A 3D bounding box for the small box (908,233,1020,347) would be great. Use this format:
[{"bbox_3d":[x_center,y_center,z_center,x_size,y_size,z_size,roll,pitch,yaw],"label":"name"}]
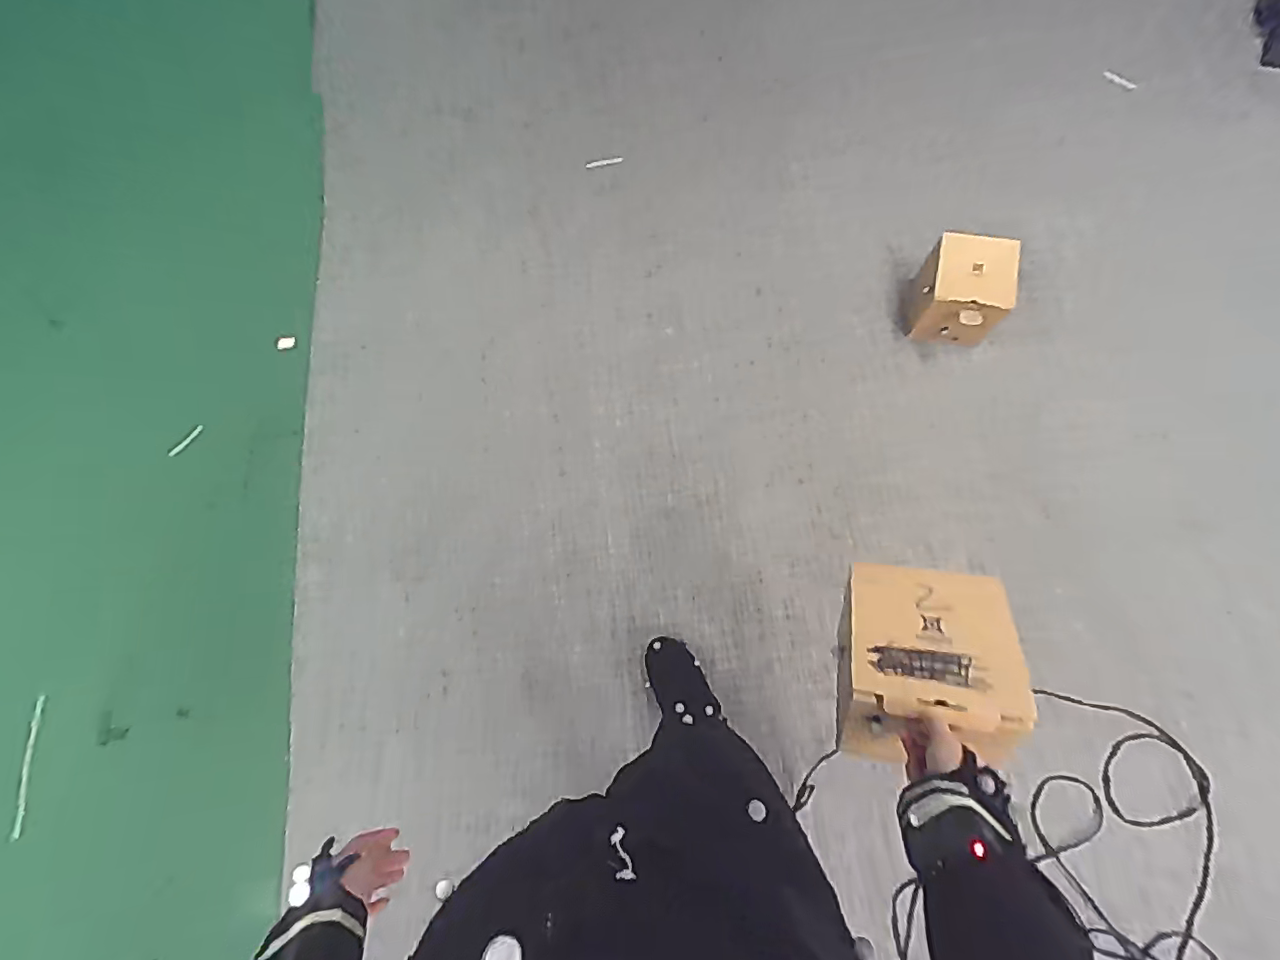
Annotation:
[{"bbox_3d":[0.746,-0.438,1.259,0.168,0.176,0.179,11,77,9],"label":"small box"}]
